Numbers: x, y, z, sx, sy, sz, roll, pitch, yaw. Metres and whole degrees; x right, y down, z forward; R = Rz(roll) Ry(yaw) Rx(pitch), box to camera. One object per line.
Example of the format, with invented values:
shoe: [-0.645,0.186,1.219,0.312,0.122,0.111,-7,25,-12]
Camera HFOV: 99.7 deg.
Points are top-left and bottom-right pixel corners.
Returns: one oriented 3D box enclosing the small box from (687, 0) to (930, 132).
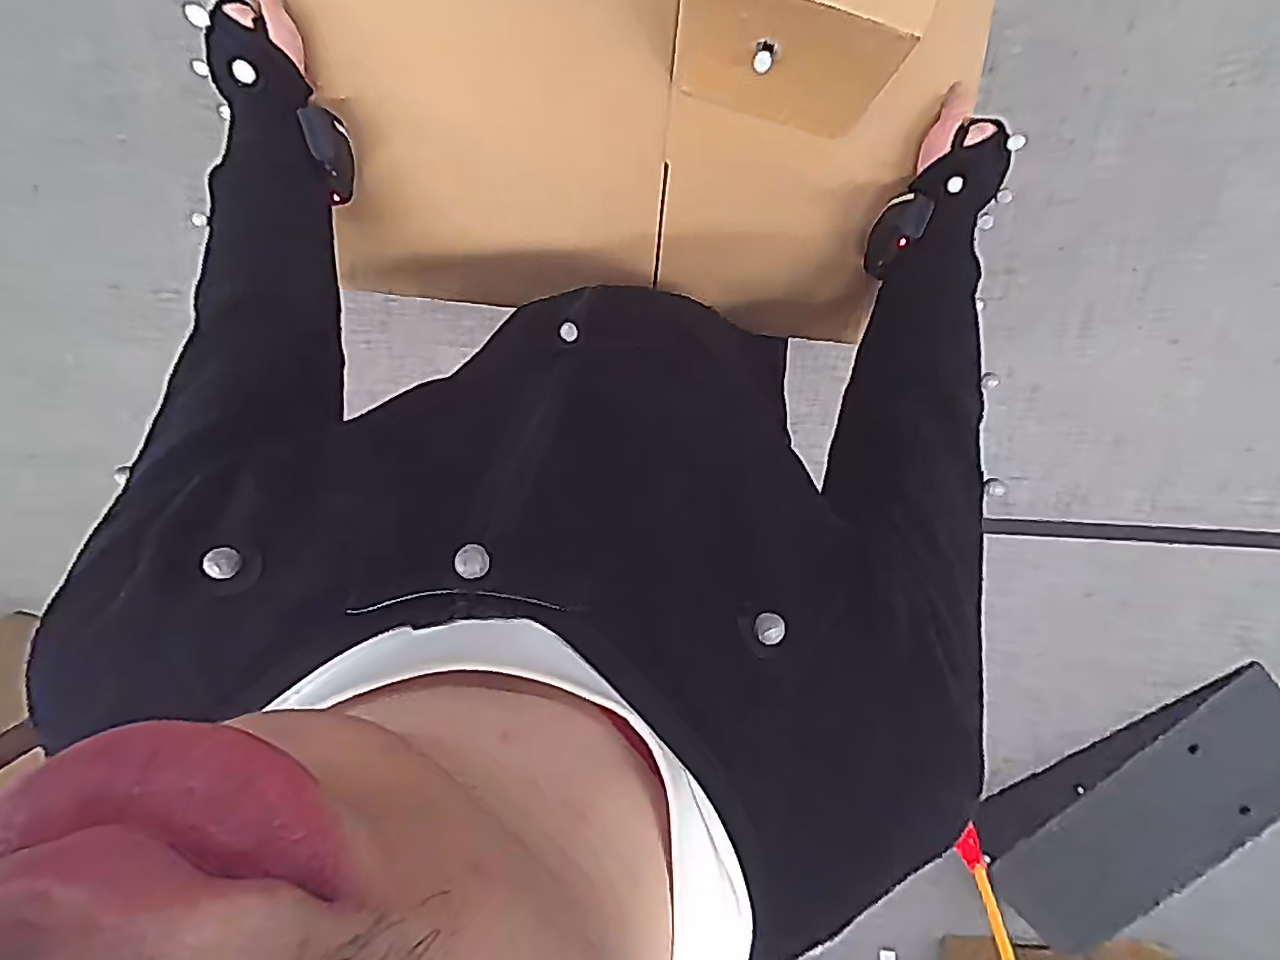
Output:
small box: [0.143,-0.430,0.454,0.179,0.176,0.168,16,101,-1]
